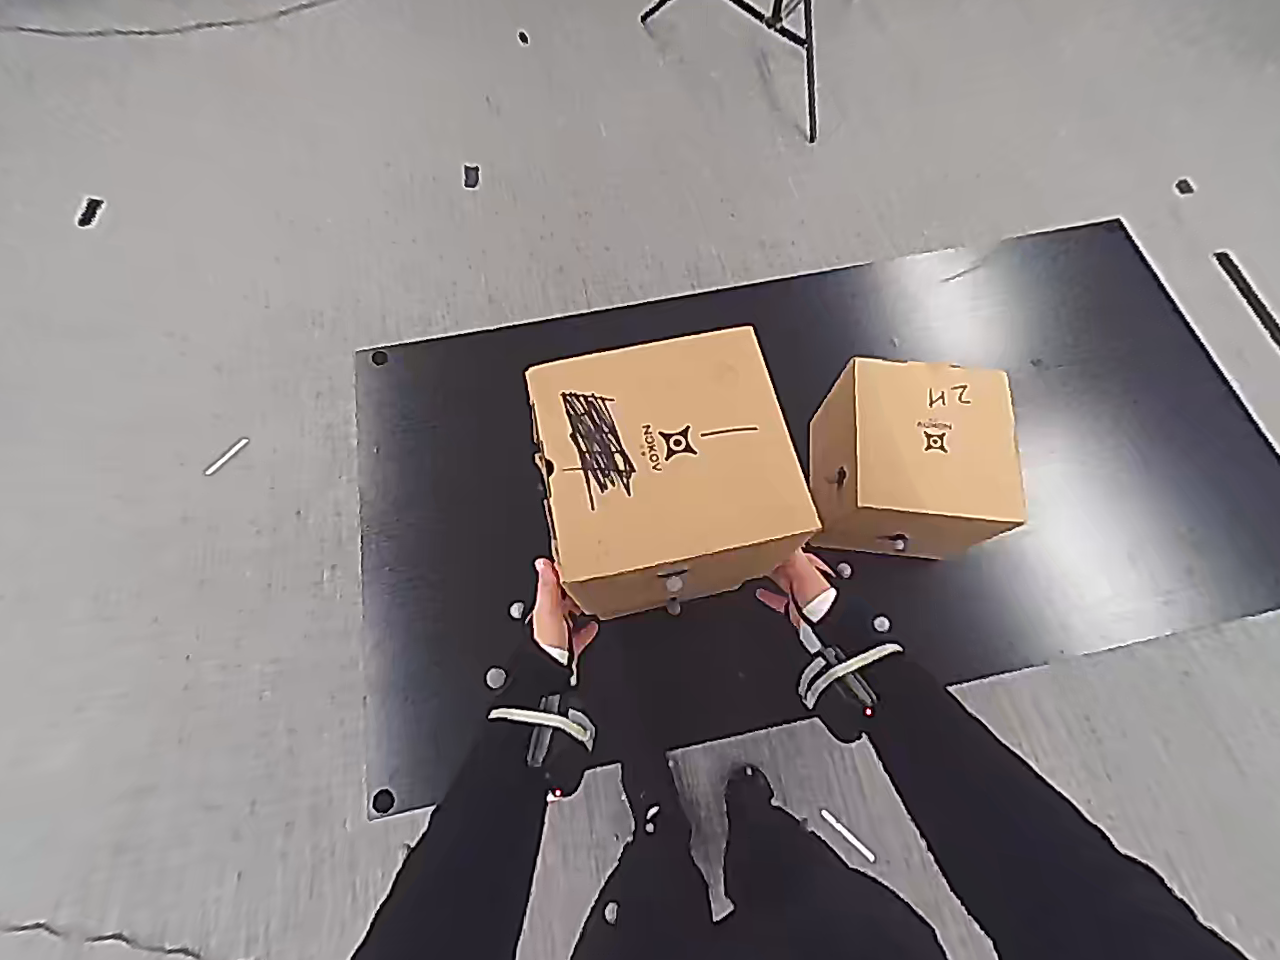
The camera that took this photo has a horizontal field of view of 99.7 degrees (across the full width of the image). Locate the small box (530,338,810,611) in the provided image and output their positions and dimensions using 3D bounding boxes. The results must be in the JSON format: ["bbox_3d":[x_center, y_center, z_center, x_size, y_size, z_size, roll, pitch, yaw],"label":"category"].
[{"bbox_3d":[0.017,0.008,0.462,0.179,0.176,0.168,-11,70,-4],"label":"small box"}]

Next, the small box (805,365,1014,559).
[{"bbox_3d":[0.301,-0.011,0.643,0.168,0.176,0.179,6,69,2],"label":"small box"}]
